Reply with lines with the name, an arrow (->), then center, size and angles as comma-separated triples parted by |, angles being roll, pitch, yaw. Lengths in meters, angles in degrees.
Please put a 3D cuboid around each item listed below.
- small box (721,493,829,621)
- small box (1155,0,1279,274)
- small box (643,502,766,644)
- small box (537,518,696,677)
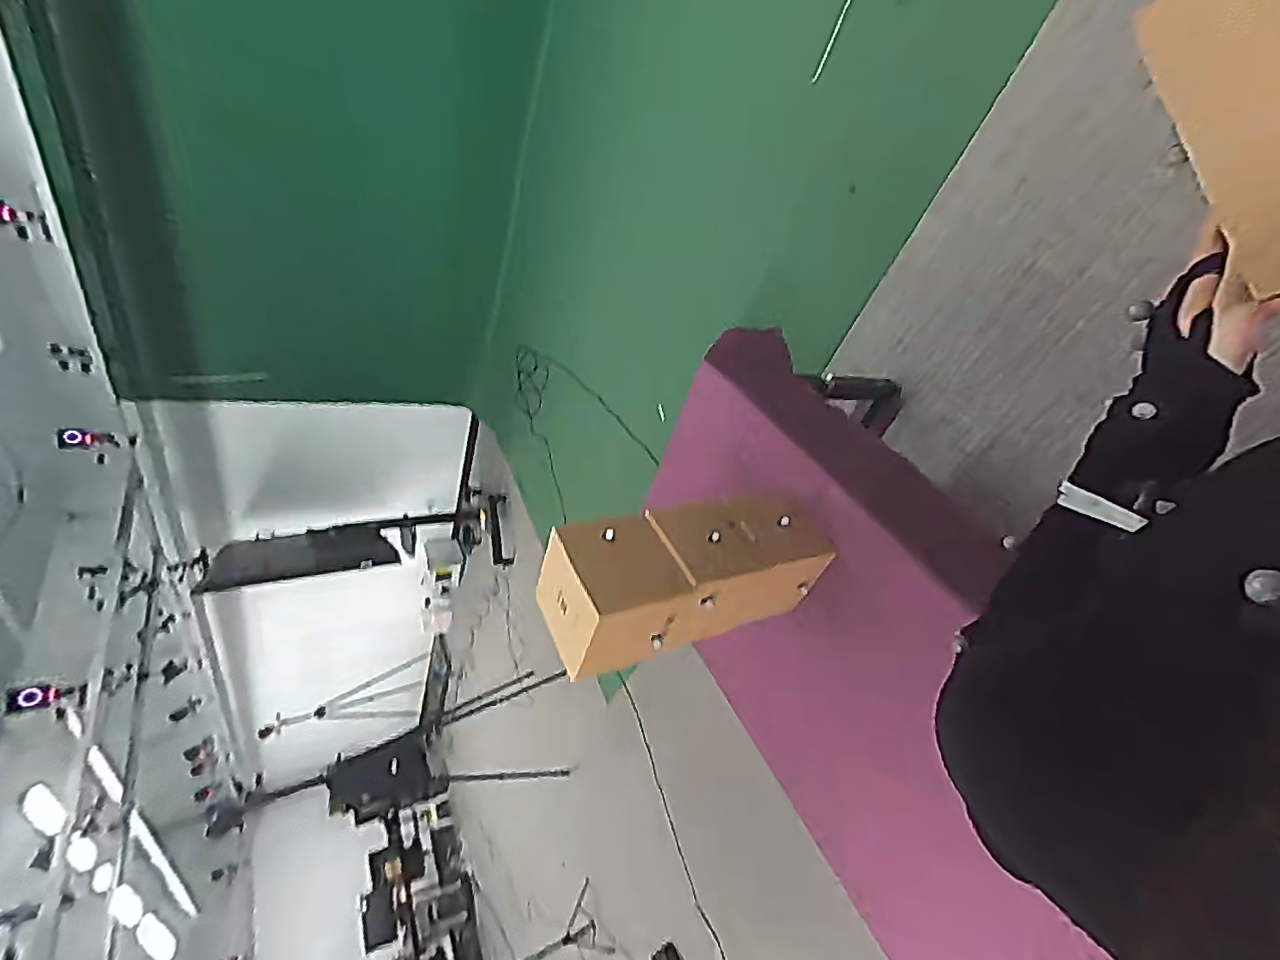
small box -> 0.230, 0.140, 1.039 | 0.168, 0.176, 0.179 | 56, 137, 37
small box -> 0.412, -0.225, 0.271 | 0.168, 0.176, 0.179 | -25, 85, 56
small box -> 0.094, 0.155, 0.947 | 0.168, 0.176, 0.179 | 55, 137, 37
small box -> -0.042, 0.175, 0.859 | 0.179, 0.176, 0.168 | 54, 138, 37
